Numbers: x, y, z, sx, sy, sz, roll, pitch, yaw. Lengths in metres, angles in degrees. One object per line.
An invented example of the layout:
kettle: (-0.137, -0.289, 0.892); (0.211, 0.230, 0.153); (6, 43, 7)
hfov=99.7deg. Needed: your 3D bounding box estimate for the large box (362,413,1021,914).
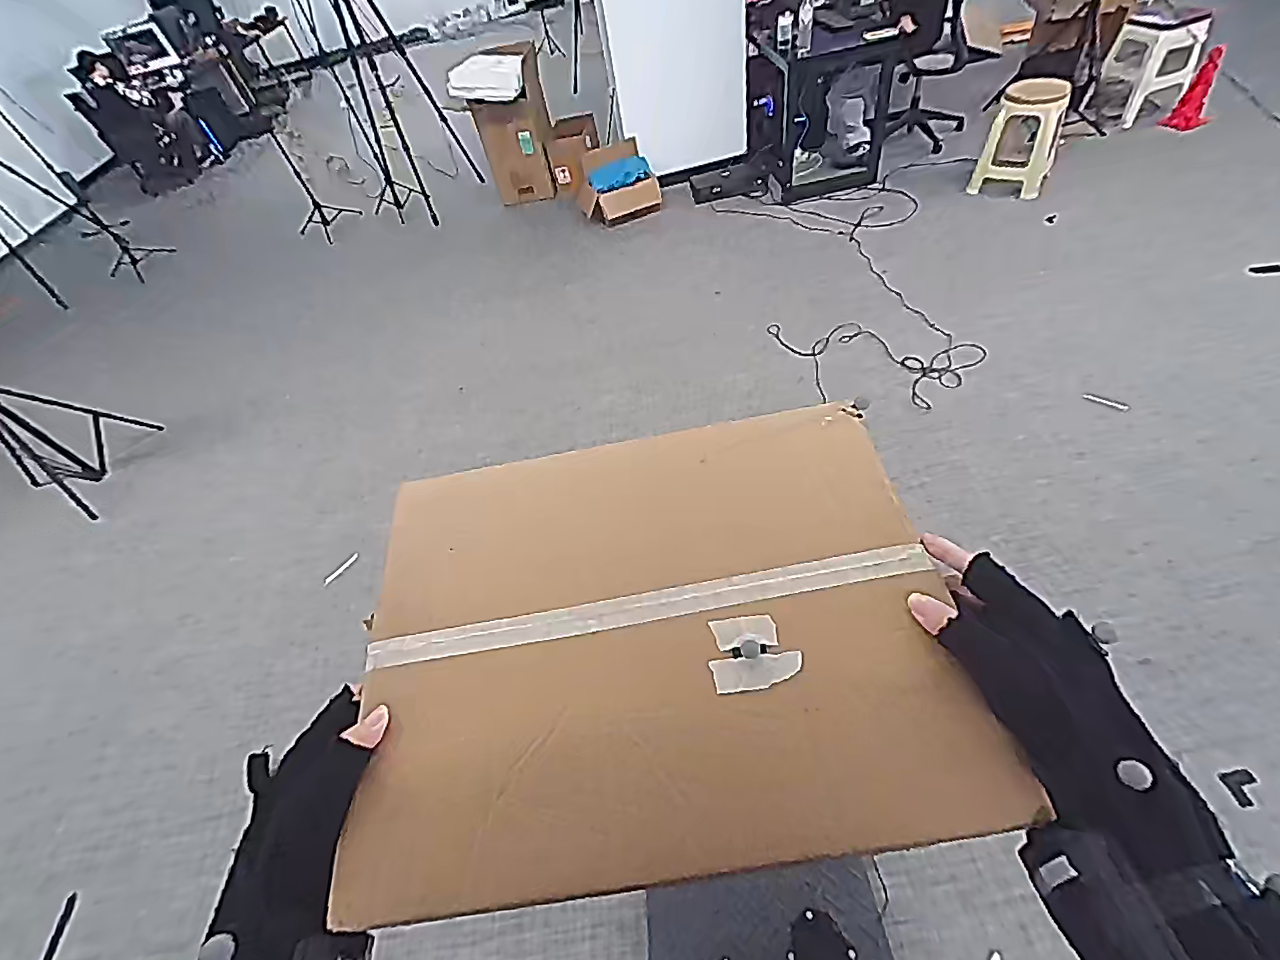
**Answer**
large box: (0.026, 0.183, 0.522); (0.408, 0.320, 0.320); (-10, 55, 2)
